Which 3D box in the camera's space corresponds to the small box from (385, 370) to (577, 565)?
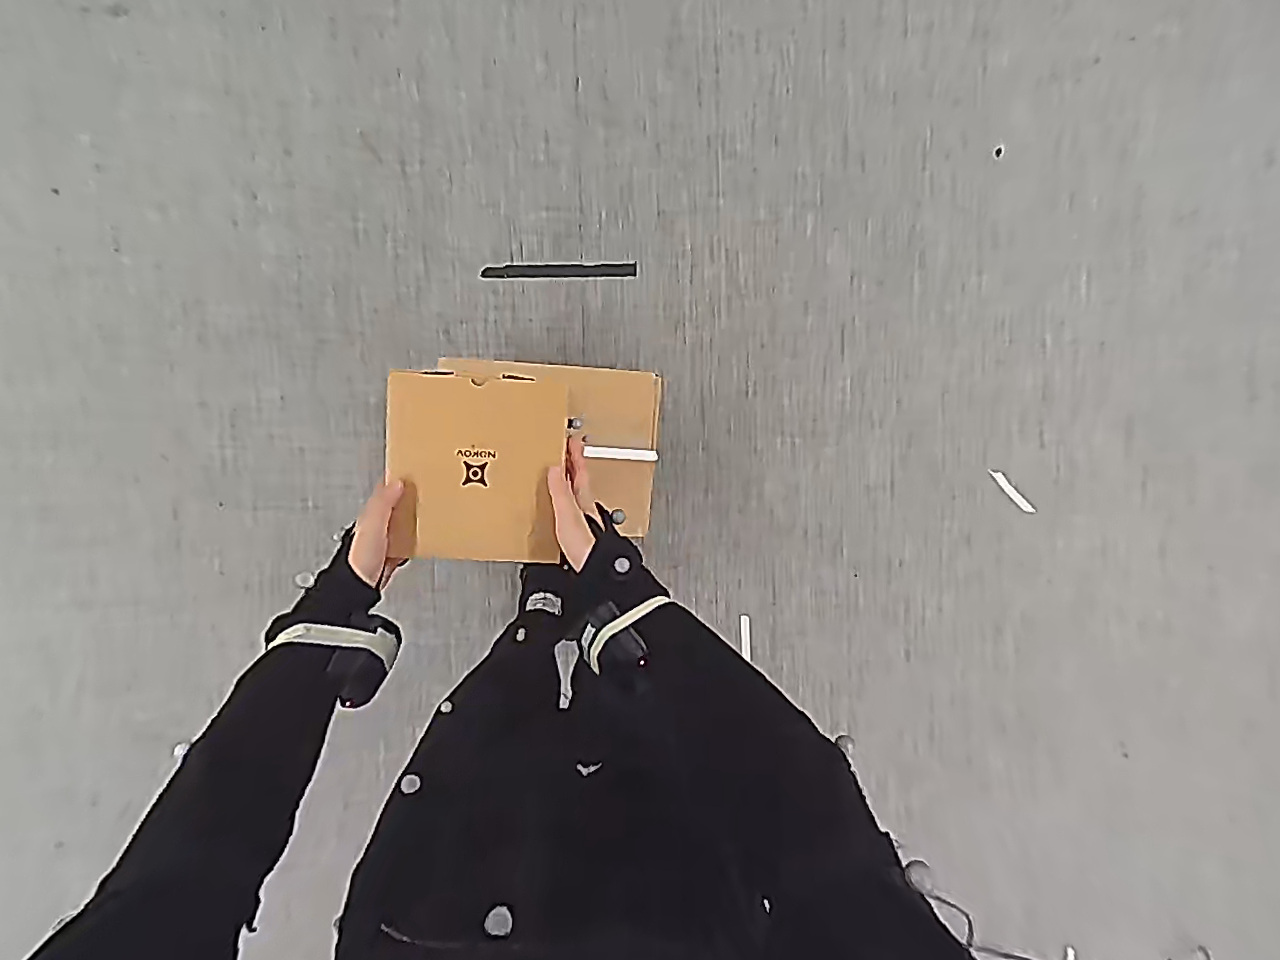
[{"bbox_3d":[-0.156,-0.014,0.582,0.168,0.176,0.179,2,92,-5],"label":"small box"}]
